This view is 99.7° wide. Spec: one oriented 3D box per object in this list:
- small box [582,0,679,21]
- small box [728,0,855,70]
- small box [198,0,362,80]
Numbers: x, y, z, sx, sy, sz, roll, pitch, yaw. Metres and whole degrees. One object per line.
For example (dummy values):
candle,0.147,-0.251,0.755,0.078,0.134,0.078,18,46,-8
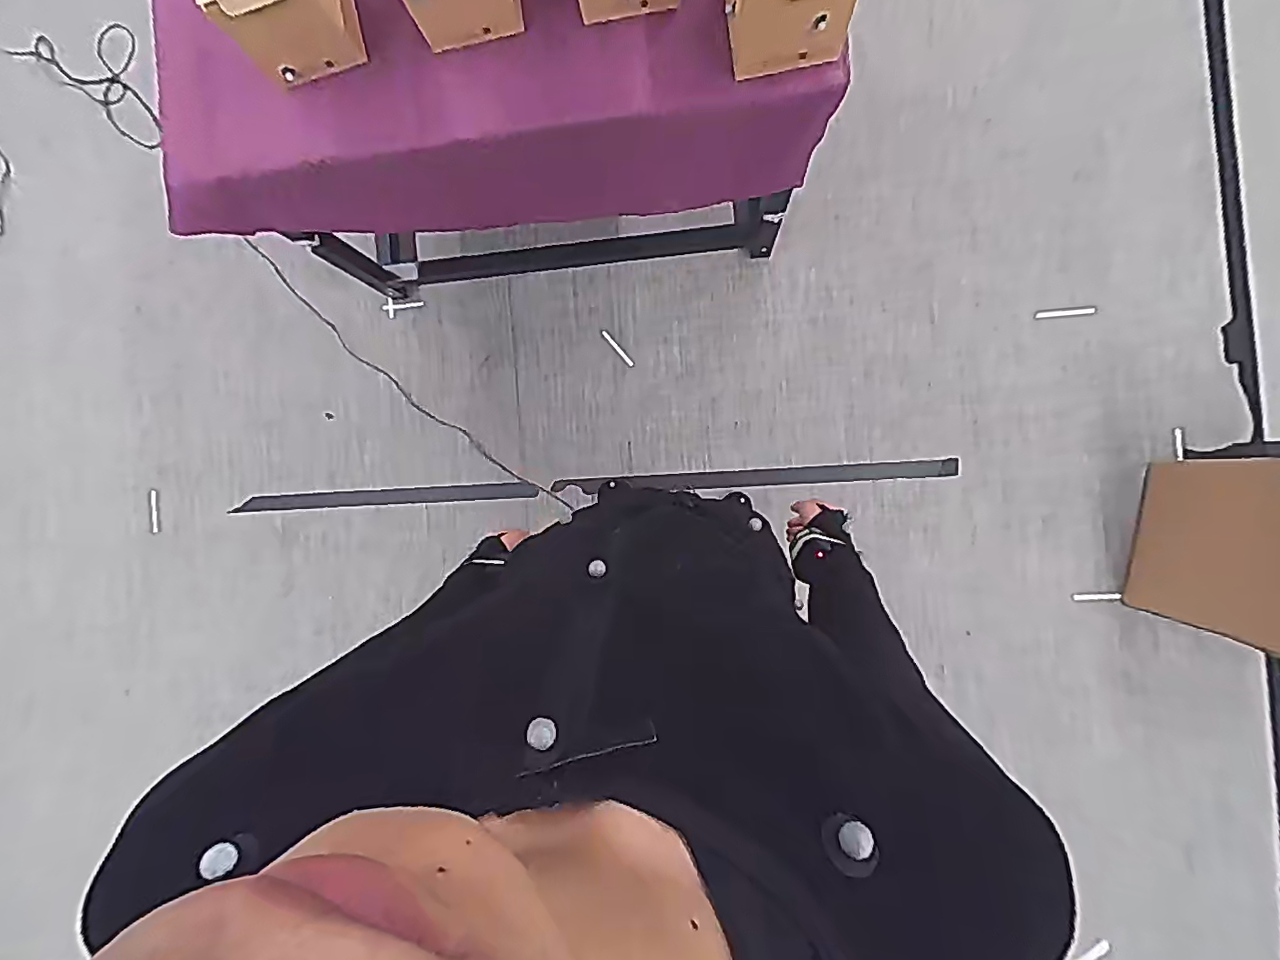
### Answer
small box,-0.028,-0.854,0.813,0.168,0.176,0.179,-6,90,6
small box,0.219,-0.742,0.788,0.168,0.176,0.179,-7,89,6
small box,-0.580,-0.790,0.869,0.168,0.176,0.179,-14,88,5
